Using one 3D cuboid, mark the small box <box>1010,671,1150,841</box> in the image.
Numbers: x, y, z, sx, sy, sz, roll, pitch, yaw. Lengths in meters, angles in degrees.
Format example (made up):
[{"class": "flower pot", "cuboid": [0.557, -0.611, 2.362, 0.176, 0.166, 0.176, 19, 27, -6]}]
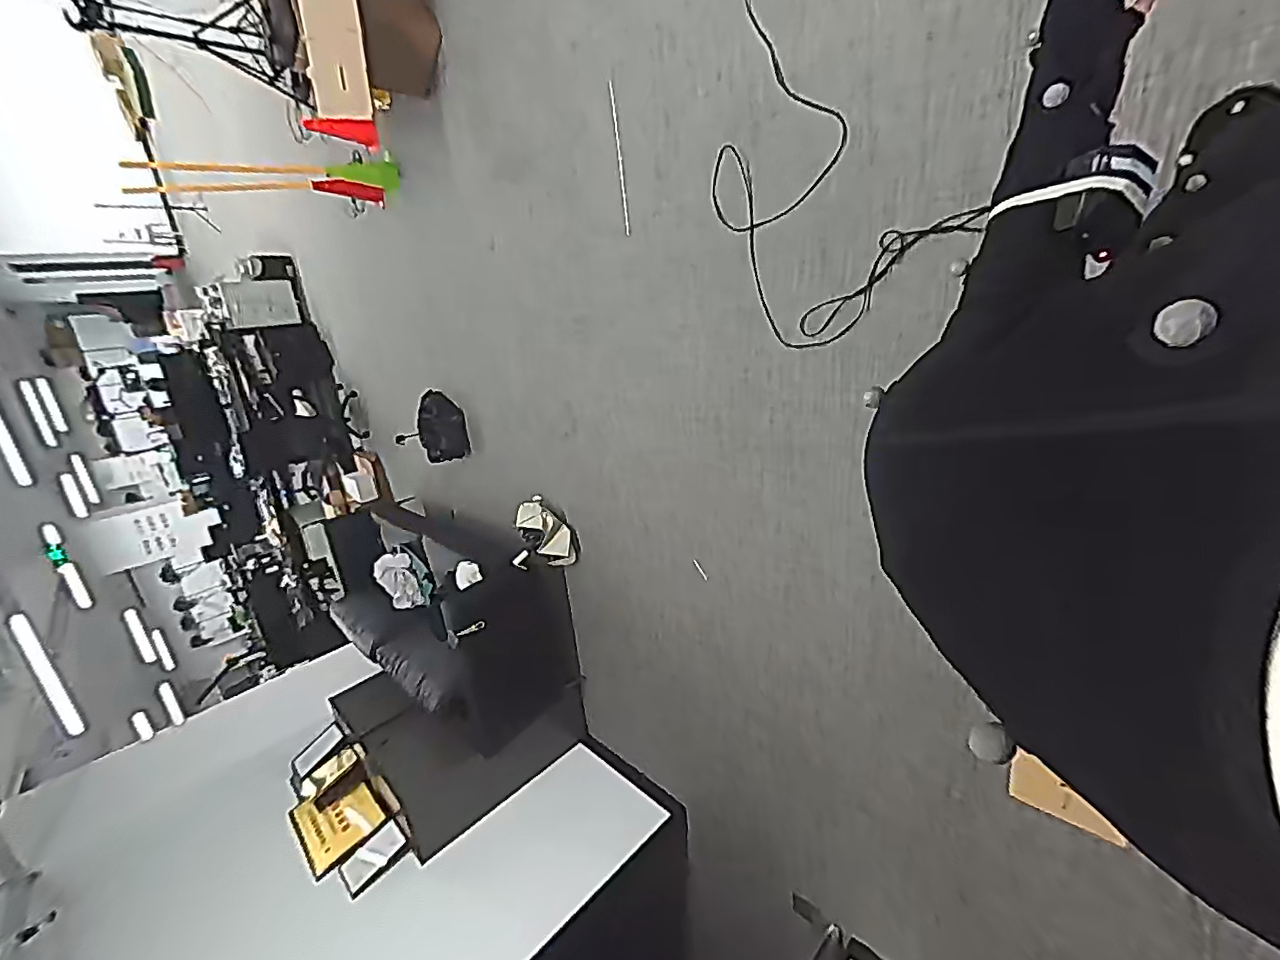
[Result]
[{"class": "small box", "cuboid": [0.785, 0.477, 0.967, 0.168, 0.176, 0.179, 11, 115, 45]}]
